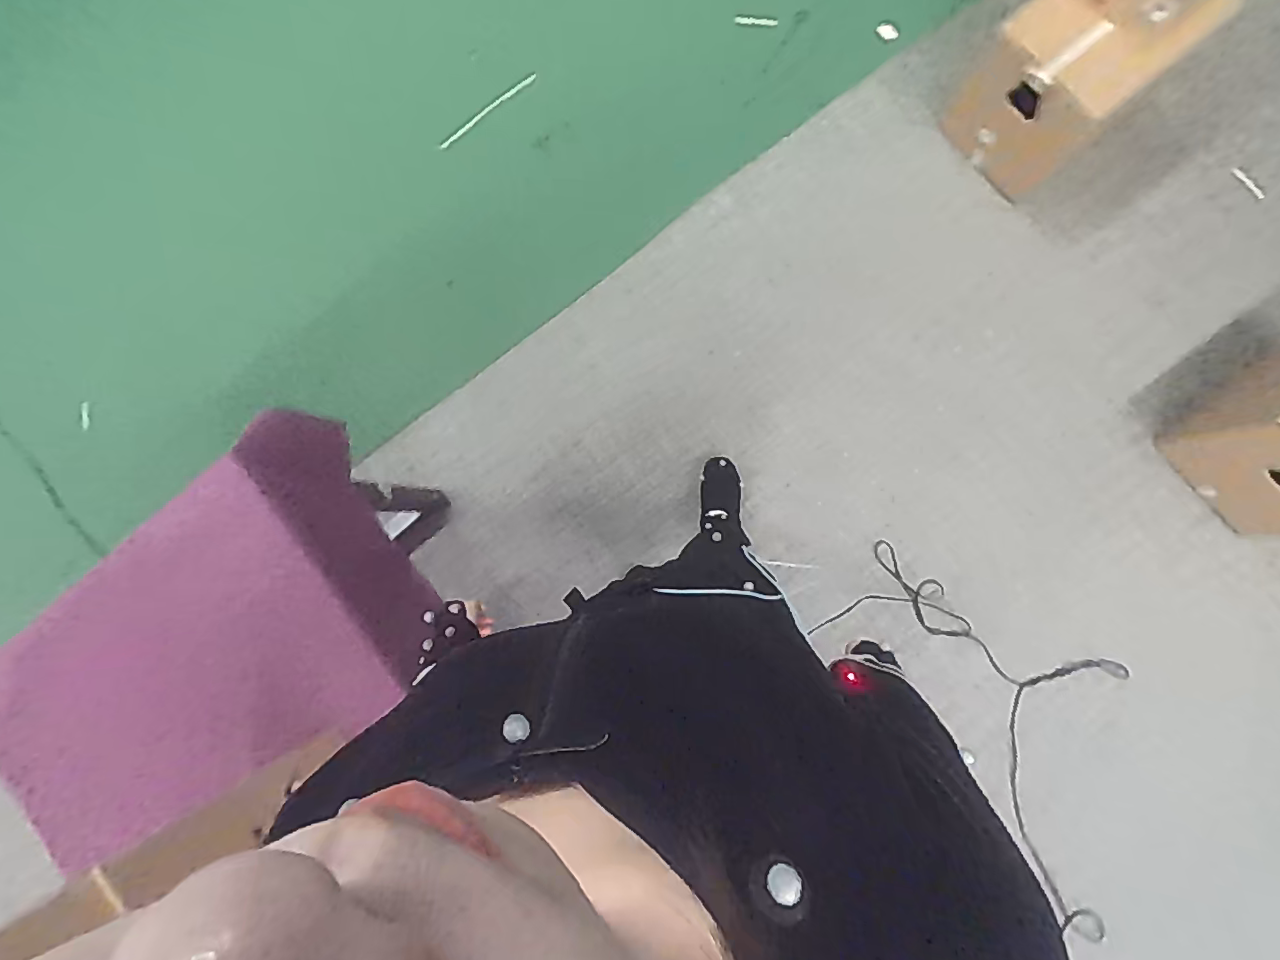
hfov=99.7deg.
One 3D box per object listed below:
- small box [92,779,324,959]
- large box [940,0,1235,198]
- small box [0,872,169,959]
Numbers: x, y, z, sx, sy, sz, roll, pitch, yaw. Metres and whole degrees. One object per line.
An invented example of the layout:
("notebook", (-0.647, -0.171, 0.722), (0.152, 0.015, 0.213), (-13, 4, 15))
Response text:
("small box", (-0.486, 0.465, 0.568), (0.179, 0.176, 0.168), (-41, 84, 1))
("large box", (1.062, -1.015, 1.343), (0.408, 0.320, 0.320), (-38, 83, 1))
("small box", (-0.505, 0.462, 0.406), (0.179, 0.176, 0.168), (-43, 84, 1))
